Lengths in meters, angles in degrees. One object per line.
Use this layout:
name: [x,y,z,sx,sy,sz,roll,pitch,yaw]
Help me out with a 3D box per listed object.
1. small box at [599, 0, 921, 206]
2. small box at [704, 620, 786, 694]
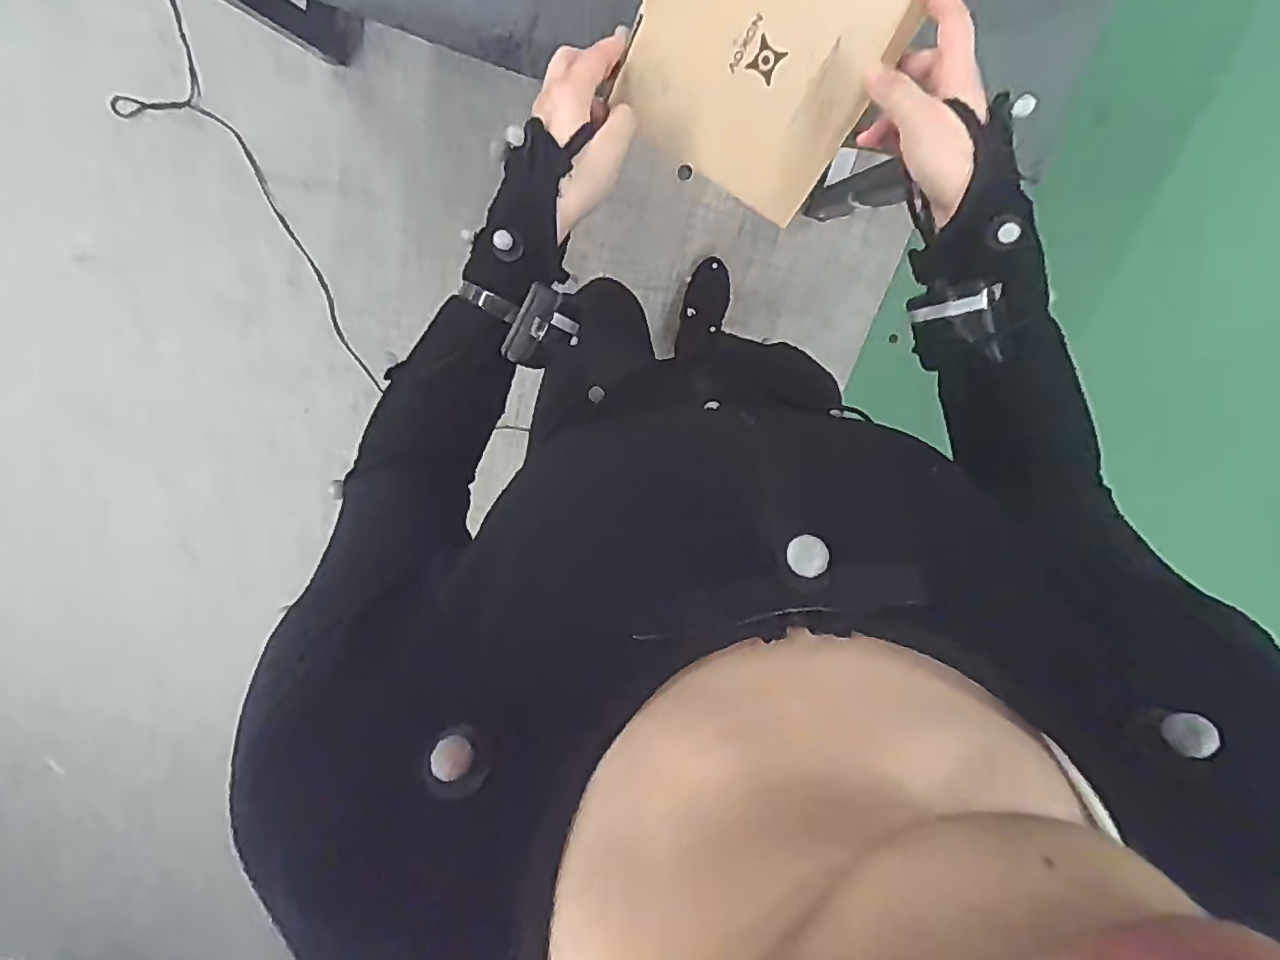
small box: [0.082,-0.357,0.439,0.179,0.176,0.168,22,124,-17]
small box: [0.305,0.549,1.614,0.179,0.176,0.168,23,110,-7]
